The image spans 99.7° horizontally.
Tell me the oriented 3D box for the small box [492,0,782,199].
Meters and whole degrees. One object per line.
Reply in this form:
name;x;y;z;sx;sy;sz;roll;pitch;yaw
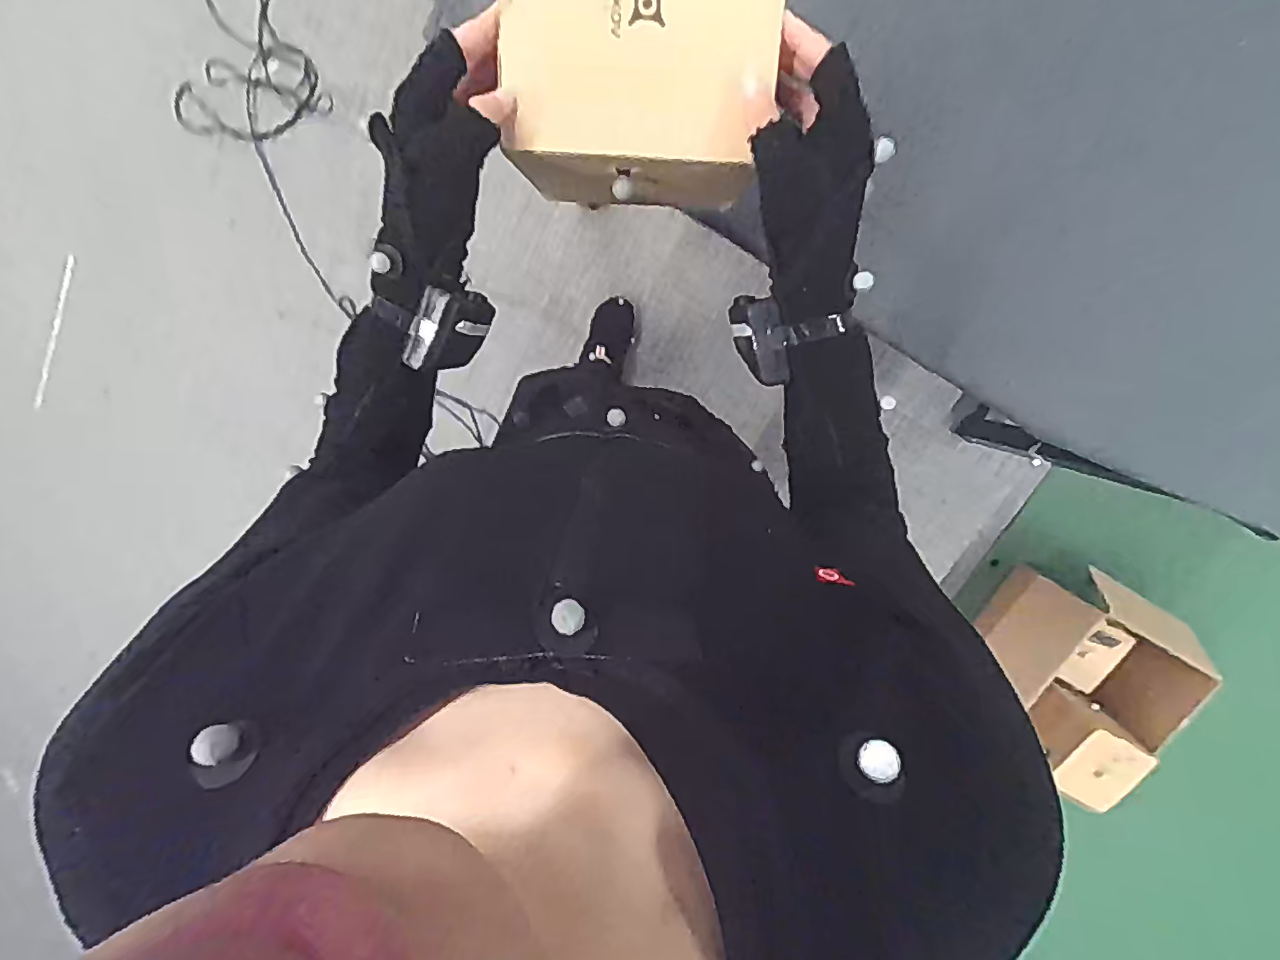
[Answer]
small box;0.000;-0.314;0.397;0.179;0.176;0.168;4;107;0
